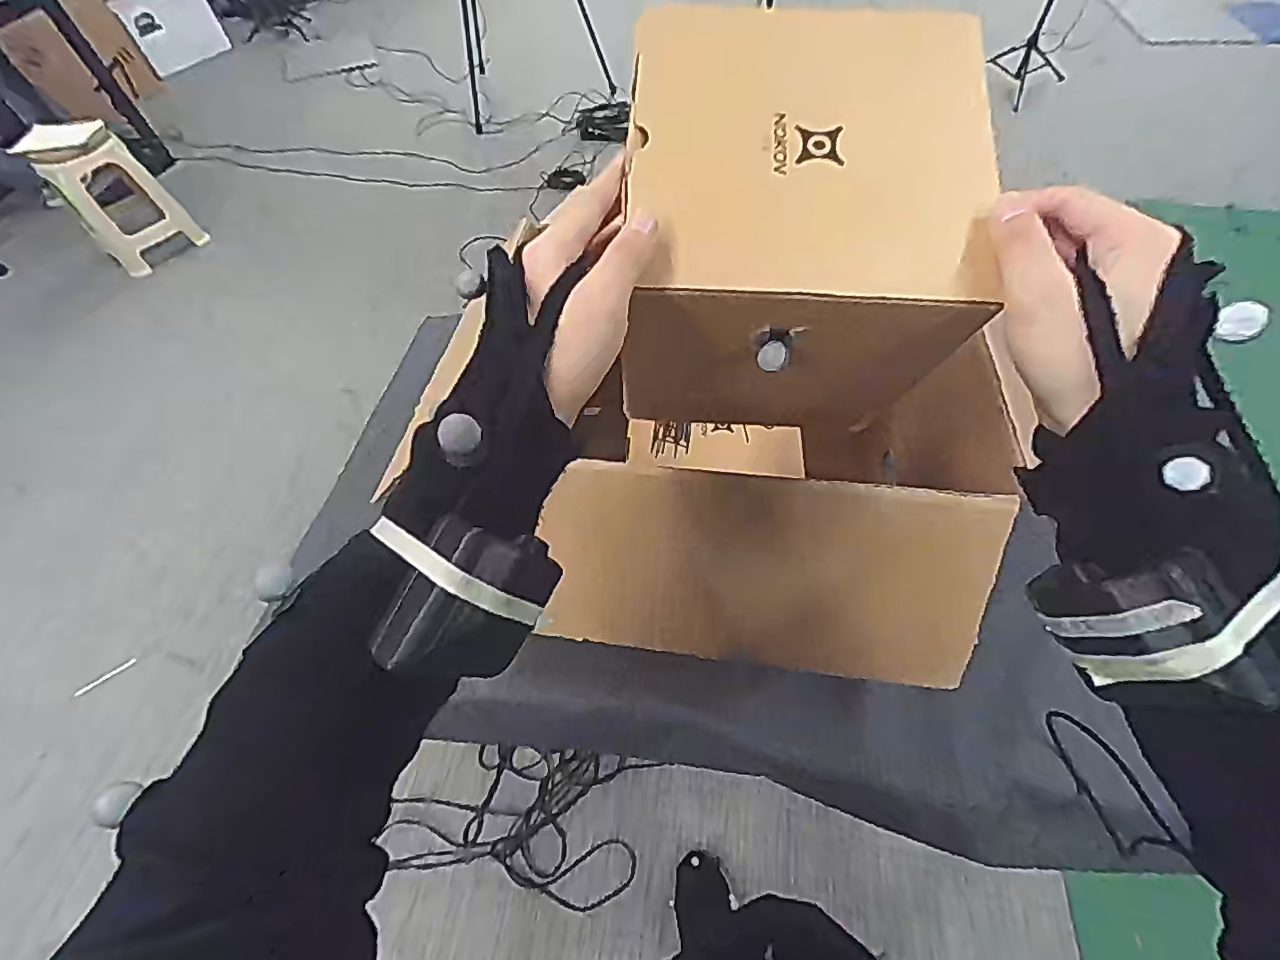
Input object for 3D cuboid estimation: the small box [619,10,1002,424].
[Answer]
[{"bbox_3d":[0.083,-0.141,0.341,0.179,0.176,0.168,3,75,2],"label":"small box"}]
